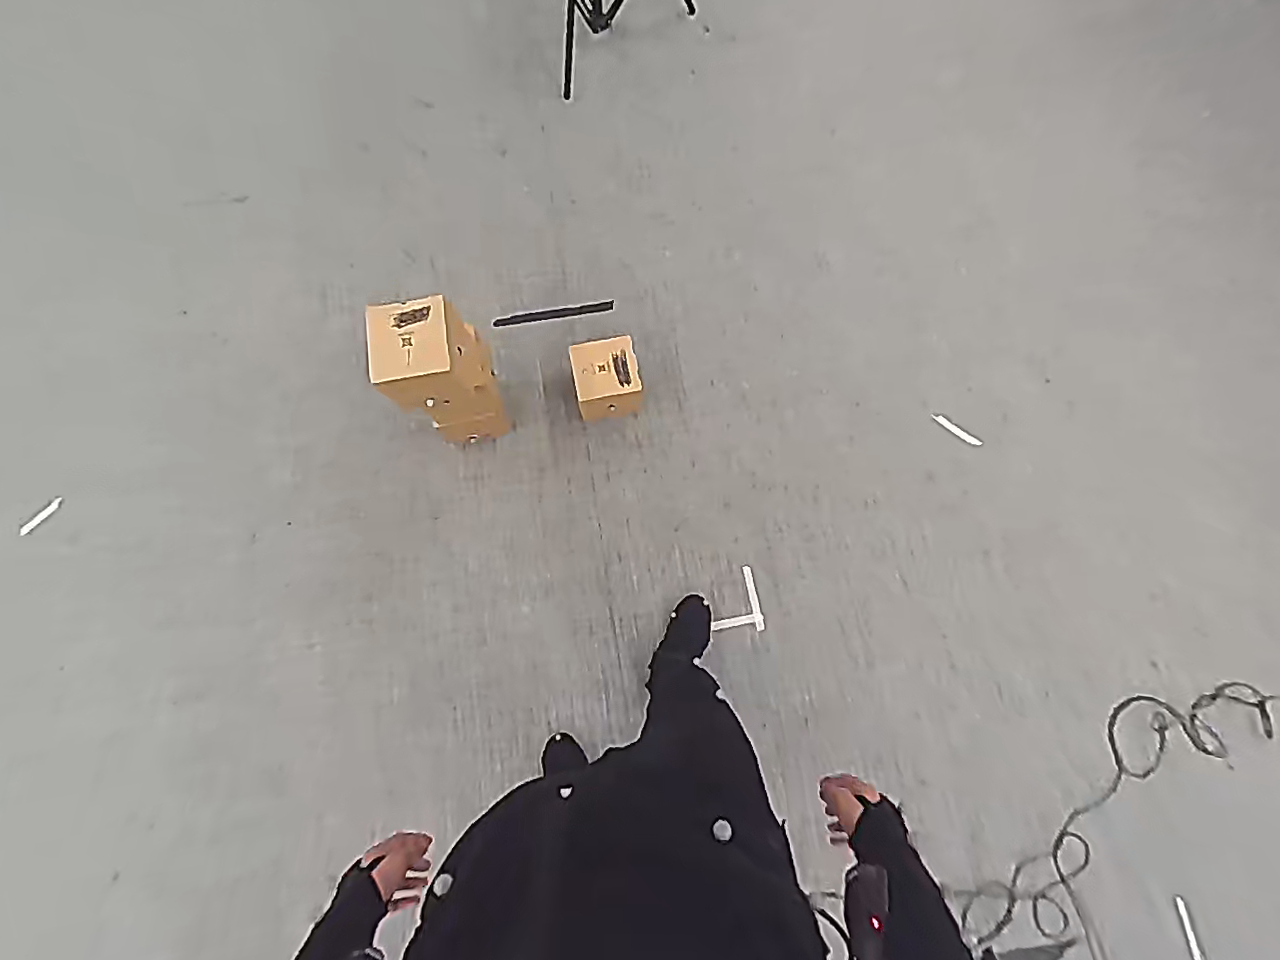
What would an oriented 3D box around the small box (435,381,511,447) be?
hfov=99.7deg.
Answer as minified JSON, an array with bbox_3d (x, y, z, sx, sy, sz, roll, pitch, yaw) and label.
[{"bbox_3d":[-0.467,-0.210,1.507,0.168,0.176,0.179,-12,77,-3],"label":"small box"}]

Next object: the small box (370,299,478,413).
[{"bbox_3d":[-0.466,-0.266,1.183,0.168,0.176,0.179,-10,78,-1],"label":"small box"}]

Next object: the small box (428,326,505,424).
[{"bbox_3d":[-0.455,-0.254,1.348,0.179,0.176,0.168,-13,77,-3],"label":"small box"}]
